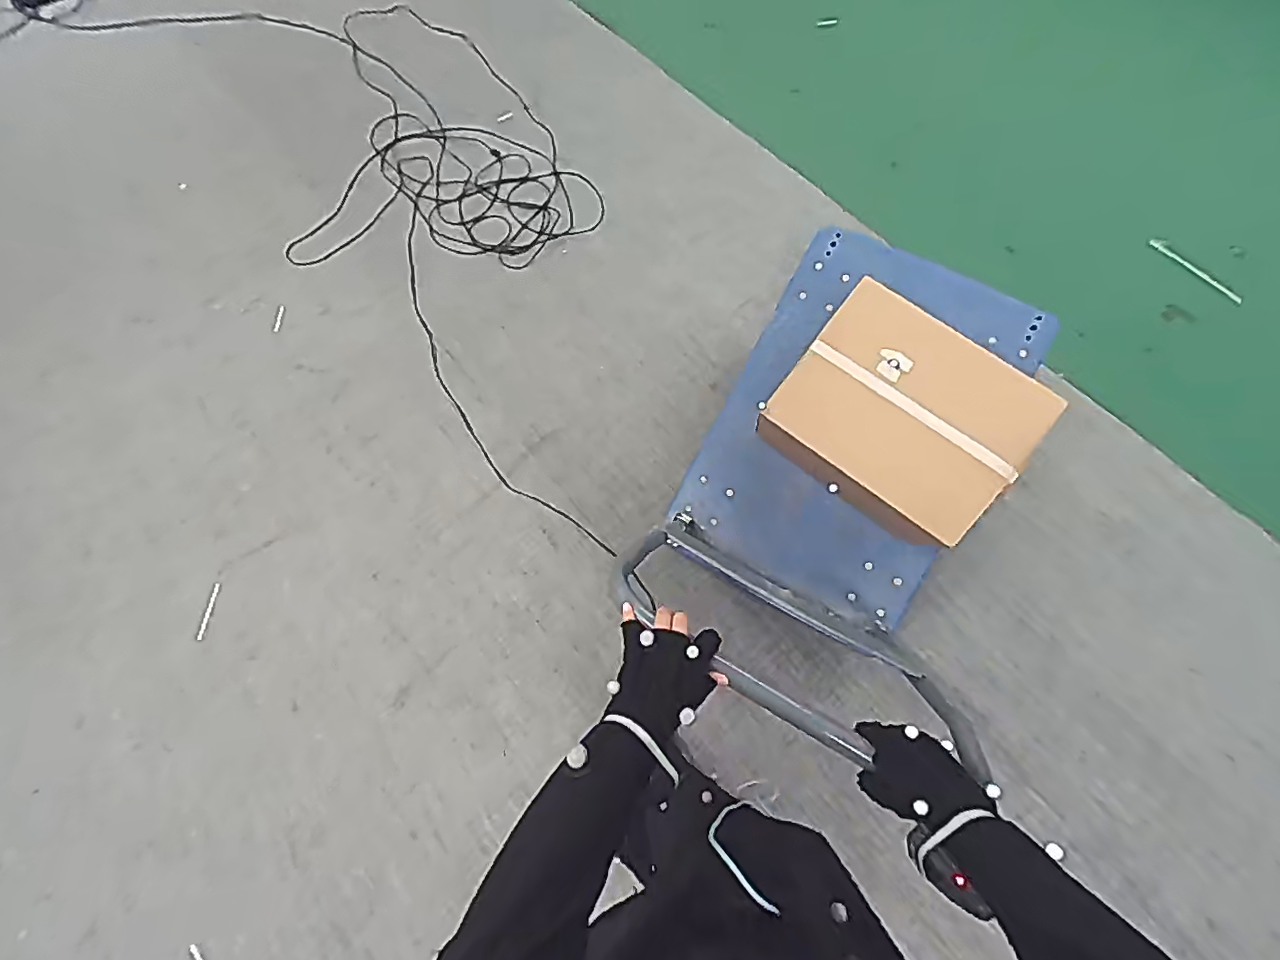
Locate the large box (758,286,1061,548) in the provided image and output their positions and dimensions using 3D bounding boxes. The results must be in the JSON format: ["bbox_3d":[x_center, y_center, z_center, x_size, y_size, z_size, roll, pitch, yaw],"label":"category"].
[{"bbox_3d":[0.494,-0.108,1.097,0.408,0.320,0.320,38,94,11],"label":"large box"}]
